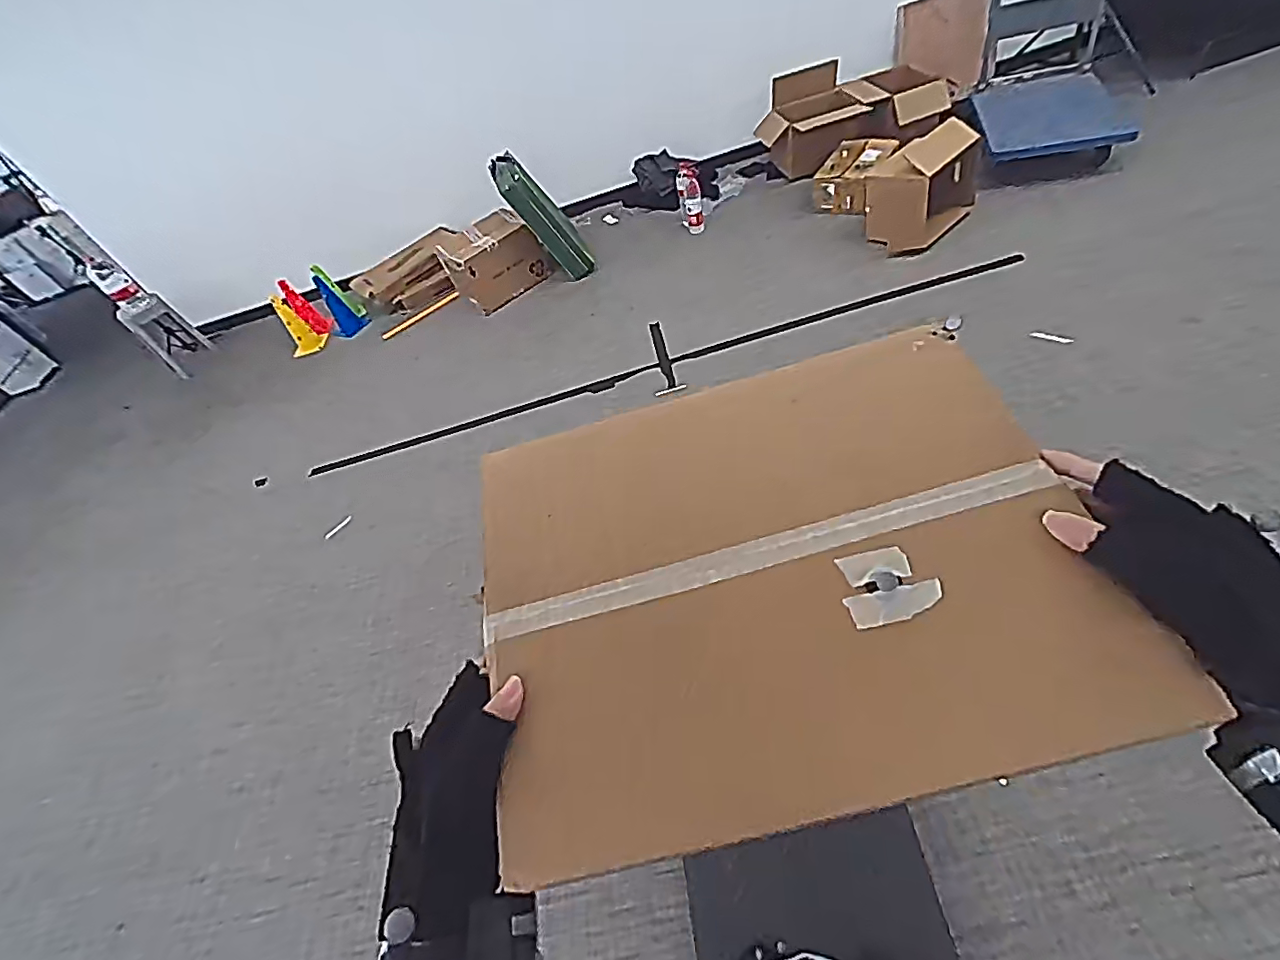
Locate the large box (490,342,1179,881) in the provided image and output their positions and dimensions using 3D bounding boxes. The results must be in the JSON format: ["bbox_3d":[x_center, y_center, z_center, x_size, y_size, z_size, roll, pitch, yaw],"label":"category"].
[{"bbox_3d":[0.114,0.136,0.518,0.408,0.320,0.320,-16,57,3],"label":"large box"}]
